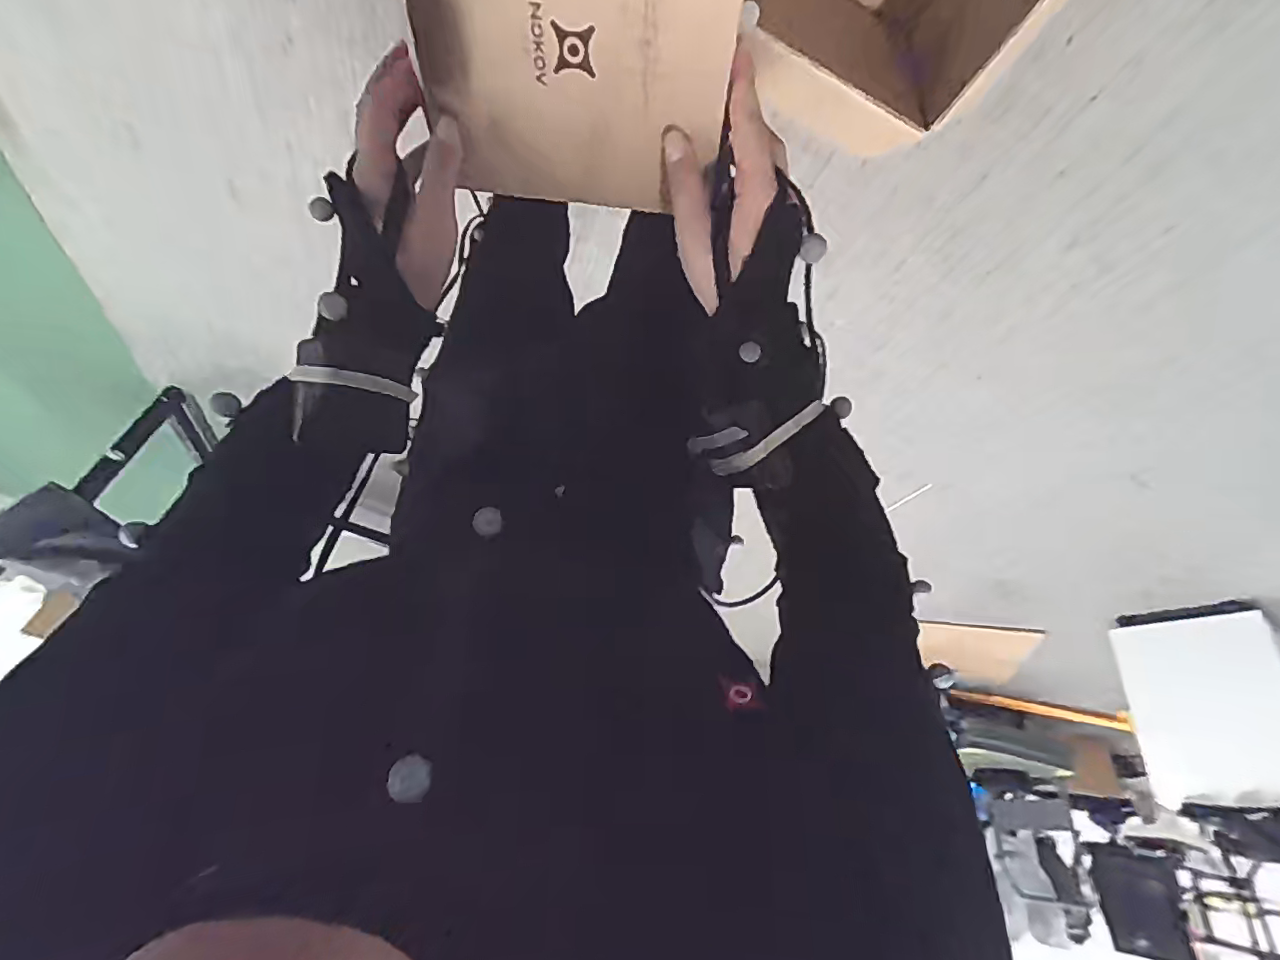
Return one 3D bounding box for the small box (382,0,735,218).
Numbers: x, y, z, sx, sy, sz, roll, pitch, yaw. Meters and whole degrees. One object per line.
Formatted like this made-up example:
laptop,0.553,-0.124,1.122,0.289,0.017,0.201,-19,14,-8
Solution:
small box,-0.034,-0.286,0.319,0.179,0.176,0.168,6,147,1
